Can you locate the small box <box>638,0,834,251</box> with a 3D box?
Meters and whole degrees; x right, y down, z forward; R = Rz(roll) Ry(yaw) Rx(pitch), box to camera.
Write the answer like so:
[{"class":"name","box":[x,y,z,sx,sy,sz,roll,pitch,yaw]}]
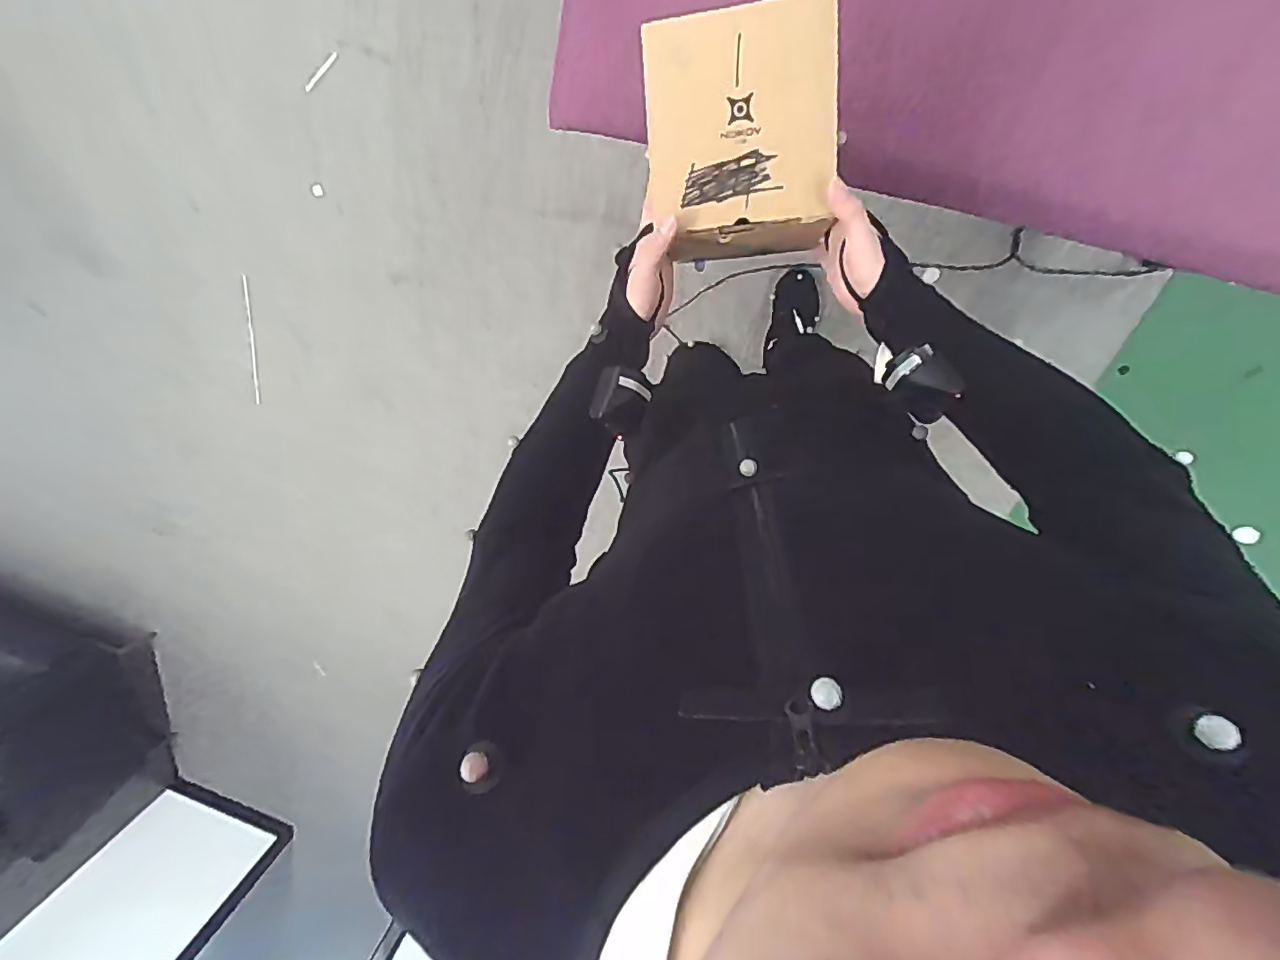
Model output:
[{"class":"small box","box":[0.096,-0.338,0.546,0.168,0.176,0.179,-1,103,10]}]
